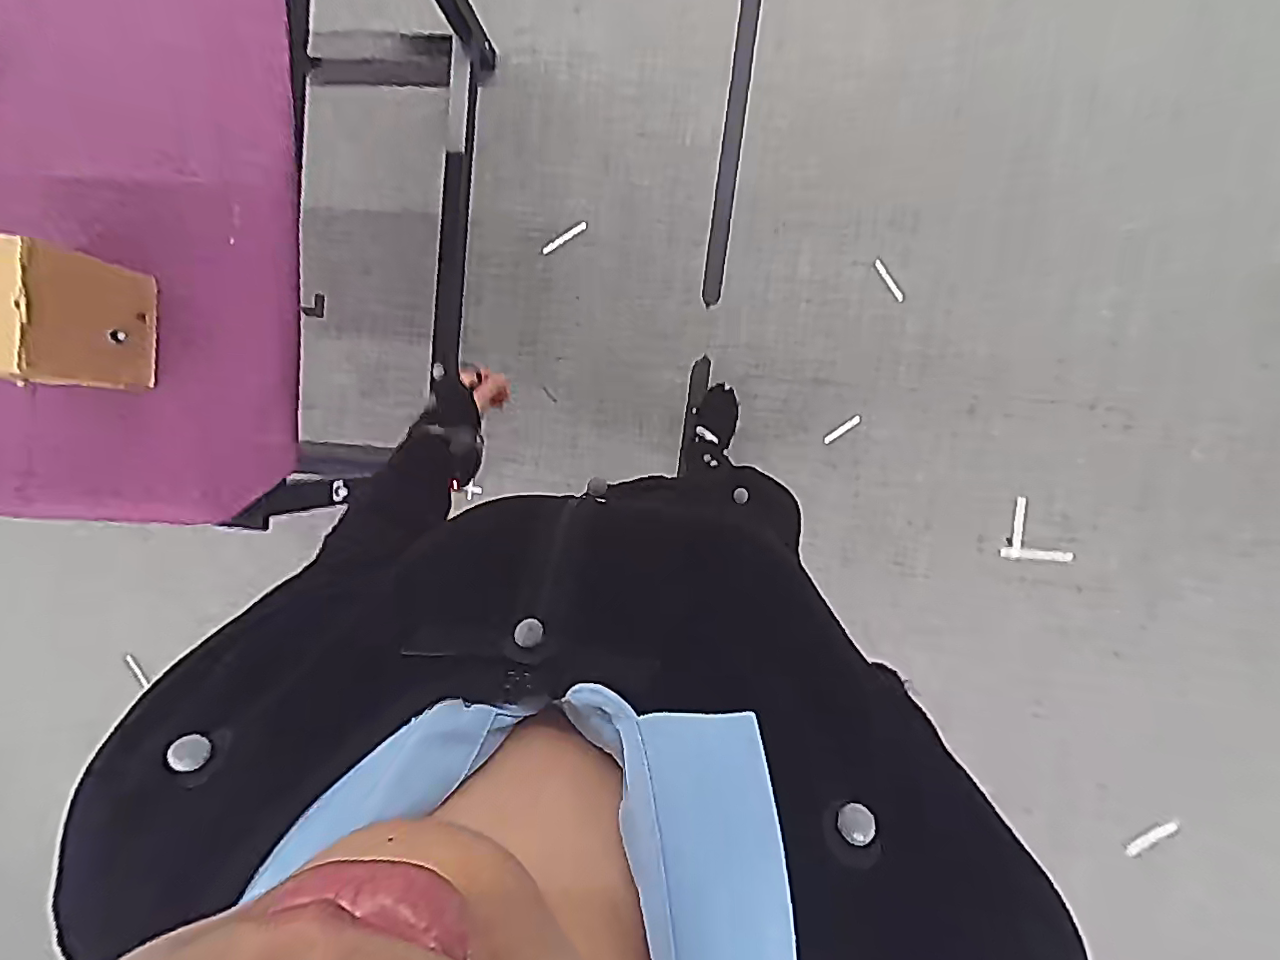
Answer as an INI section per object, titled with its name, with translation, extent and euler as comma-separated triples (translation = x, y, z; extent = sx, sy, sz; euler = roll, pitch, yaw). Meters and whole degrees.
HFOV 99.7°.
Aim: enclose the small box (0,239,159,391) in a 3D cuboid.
[small box]
translation = -0.823, -0.217, 0.741
extent = 0.179, 0.176, 0.168
euler = 4, 93, 5
